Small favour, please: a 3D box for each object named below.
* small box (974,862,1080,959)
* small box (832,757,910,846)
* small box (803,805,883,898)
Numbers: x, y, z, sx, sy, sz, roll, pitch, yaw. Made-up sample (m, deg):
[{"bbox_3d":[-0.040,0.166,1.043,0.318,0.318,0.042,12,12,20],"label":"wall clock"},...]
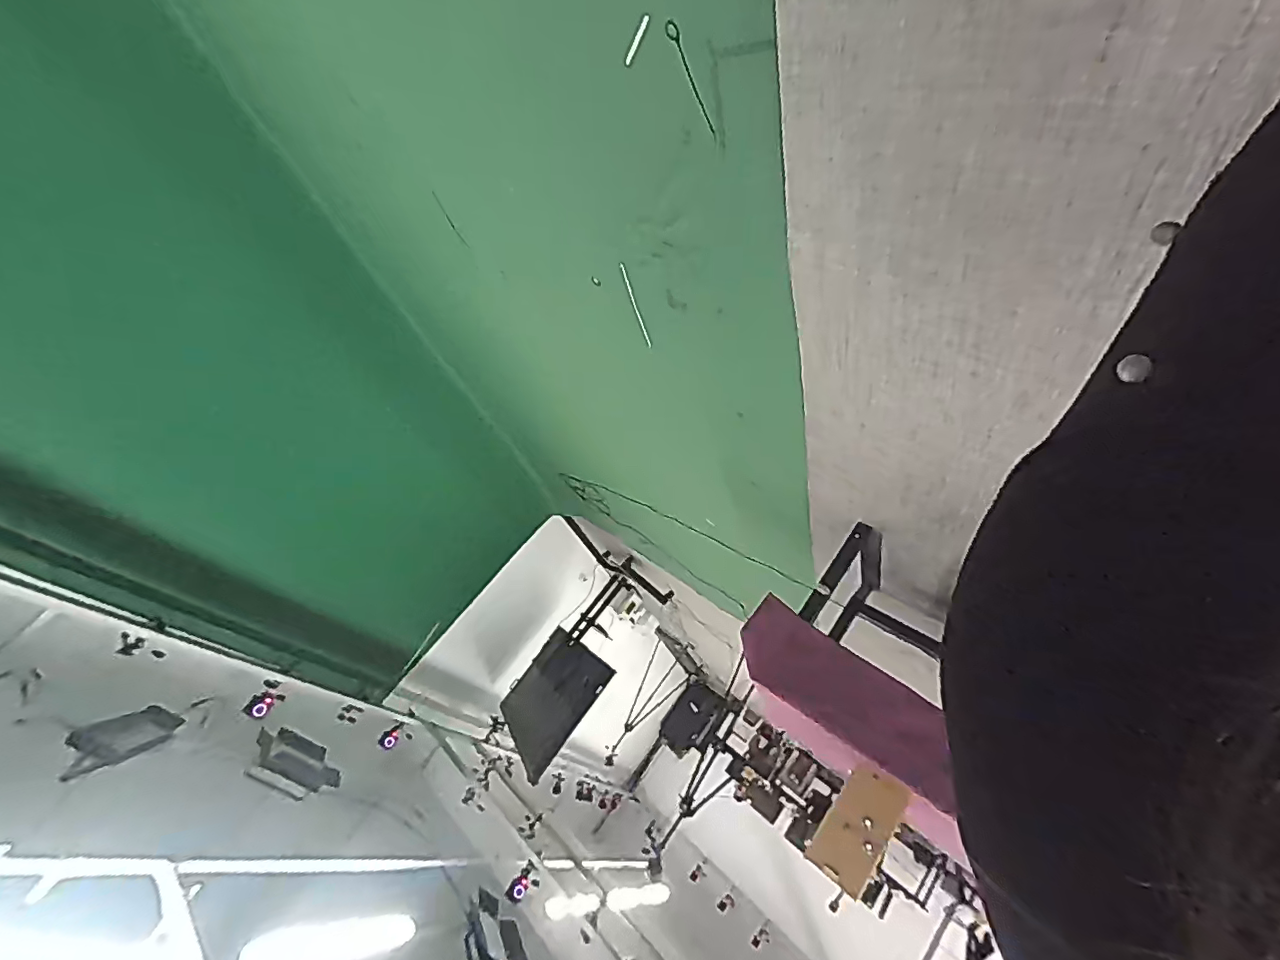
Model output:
[{"bbox_3d":[1.015,1.145,1.423,0.168,0.176,0.179,27,158,35],"label":"small box"},{"bbox_3d":[0.714,0.991,1.672,0.168,0.176,0.179,26,159,35],"label":"small box"},{"bbox_3d":[0.612,1.111,1.625,0.168,0.176,0.179,27,159,37],"label":"small box"}]
